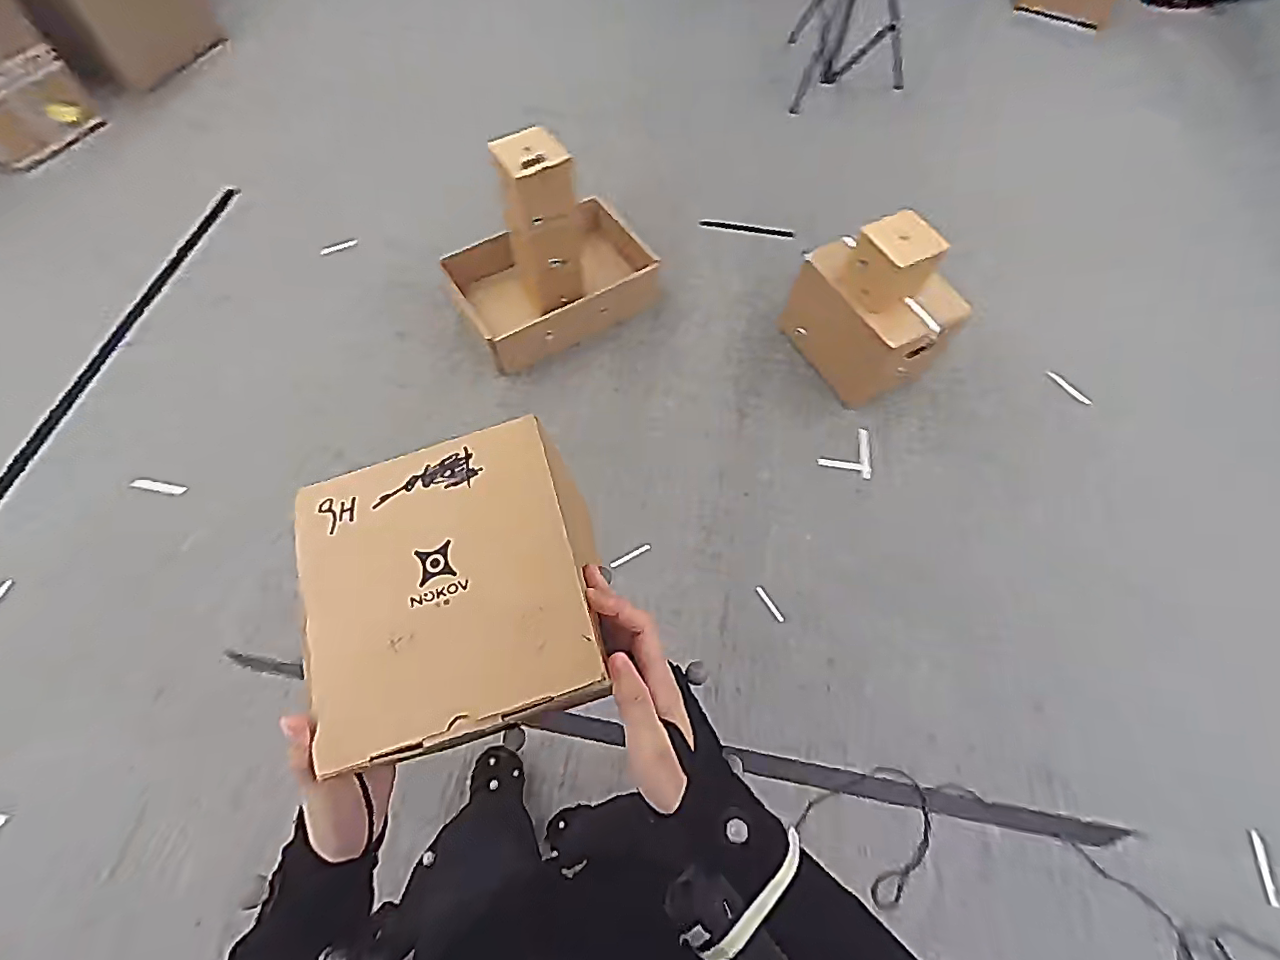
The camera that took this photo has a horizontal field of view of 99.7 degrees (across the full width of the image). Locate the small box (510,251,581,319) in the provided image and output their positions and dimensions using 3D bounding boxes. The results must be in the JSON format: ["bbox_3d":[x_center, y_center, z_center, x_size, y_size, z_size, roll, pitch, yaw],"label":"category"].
[{"bbox_3d":[-0.308,-0.670,1.789,0.168,0.176,0.179,-28,68,-14],"label":"small box"}]

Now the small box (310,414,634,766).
[{"bbox_3d":[-0.107,0.083,0.399,0.168,0.176,0.179,-17,69,-3],"label":"small box"}]

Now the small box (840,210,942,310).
[{"bbox_3d":[0.682,-0.604,1.500,0.179,0.176,0.168,-26,68,-14],"label":"small box"}]

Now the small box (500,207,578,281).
[{"bbox_3d":[-0.303,-0.744,1.645,0.168,0.176,0.179,-30,69,-15],"label":"small box"}]

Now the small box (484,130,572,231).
[{"bbox_3d":[-0.303,-0.821,1.499,0.168,0.176,0.179,-30,67,-15],"label":"small box"}]
